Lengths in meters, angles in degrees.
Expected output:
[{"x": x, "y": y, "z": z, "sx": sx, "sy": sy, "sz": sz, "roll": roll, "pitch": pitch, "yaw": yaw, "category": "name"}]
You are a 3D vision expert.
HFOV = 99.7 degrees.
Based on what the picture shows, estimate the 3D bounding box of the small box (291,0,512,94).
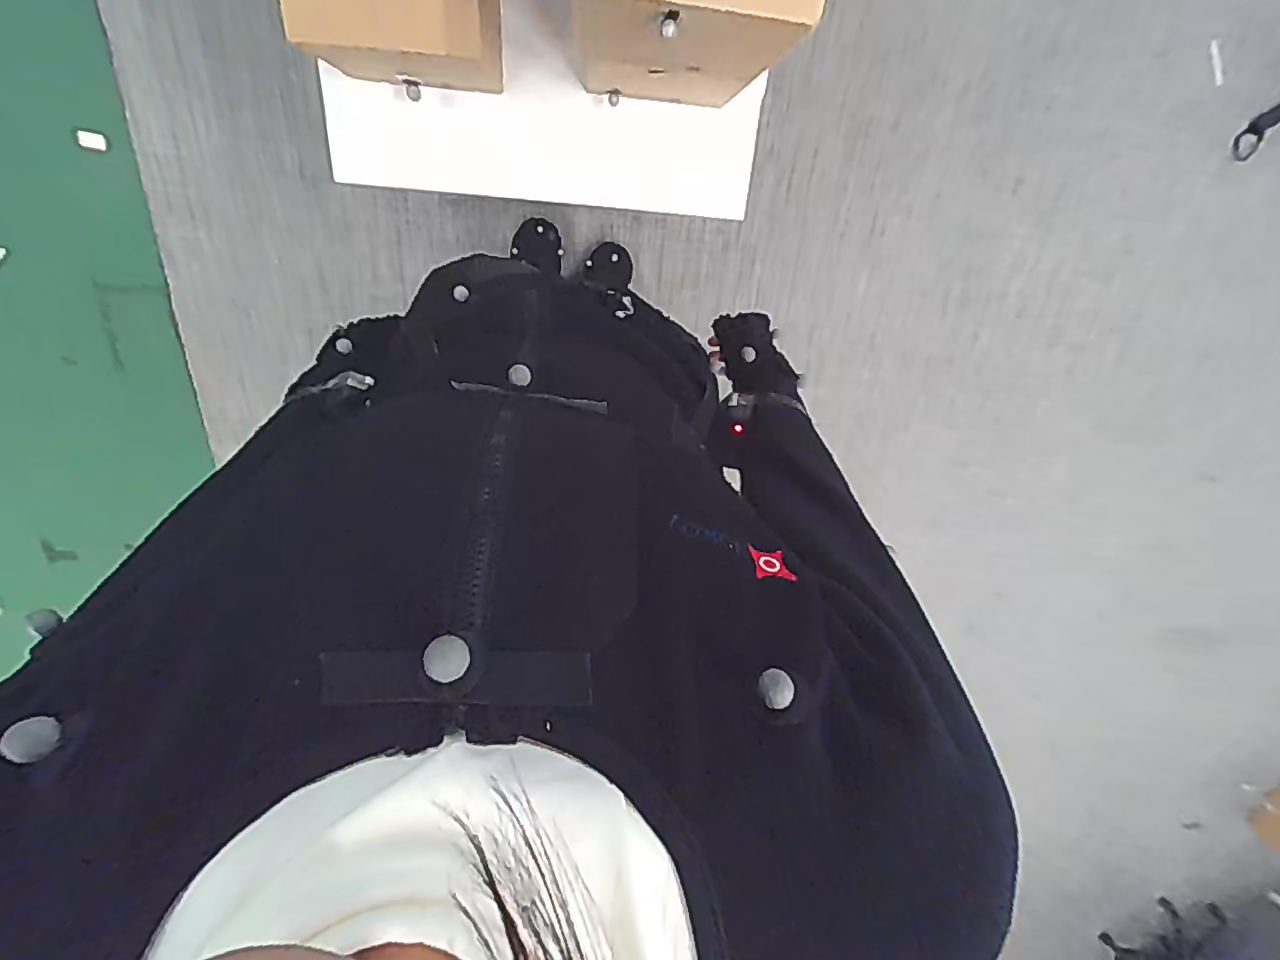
[{"x": -0.219, "y": -0.491, "z": 0.512, "sx": 0.168, "sy": 0.176, "sz": 0.179, "roll": 0, "pitch": 117, "yaw": -5, "category": "small box"}]

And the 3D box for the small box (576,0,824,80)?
[{"x": 0.040, "y": -0.420, "z": 0.386, "sx": 0.168, "sy": 0.176, "sz": 0.179, "roll": 3, "pitch": 115, "yaw": -6, "category": "small box"}]
